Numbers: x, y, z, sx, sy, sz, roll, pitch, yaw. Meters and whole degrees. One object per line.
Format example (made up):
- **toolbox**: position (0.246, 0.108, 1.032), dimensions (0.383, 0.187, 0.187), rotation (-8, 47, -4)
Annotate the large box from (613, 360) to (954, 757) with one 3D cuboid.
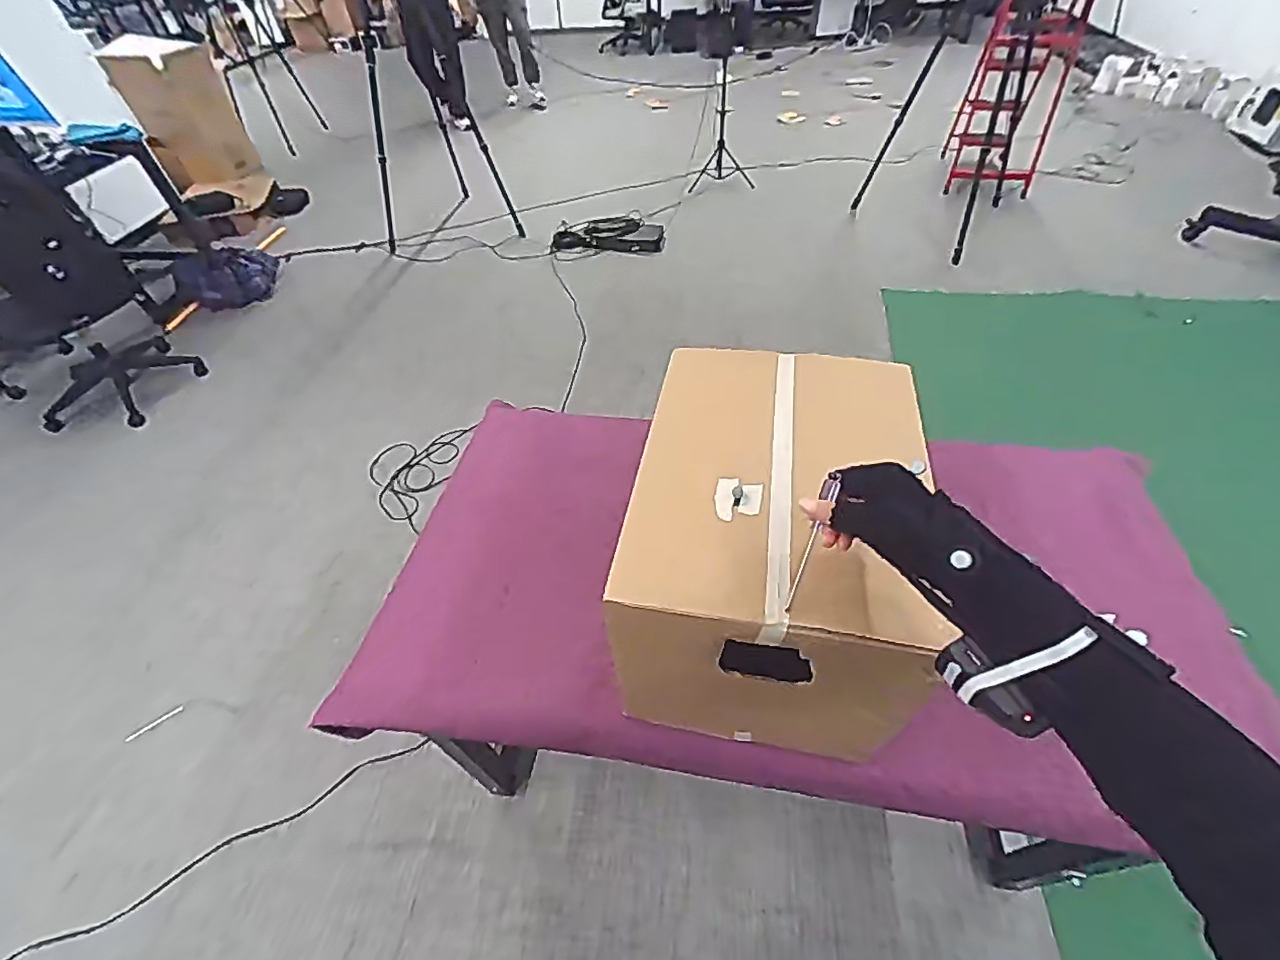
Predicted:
- **large box**: position (0.165, 0.092, 0.726), dimensions (0.320, 0.320, 0.408), rotation (7, 49, 10)
